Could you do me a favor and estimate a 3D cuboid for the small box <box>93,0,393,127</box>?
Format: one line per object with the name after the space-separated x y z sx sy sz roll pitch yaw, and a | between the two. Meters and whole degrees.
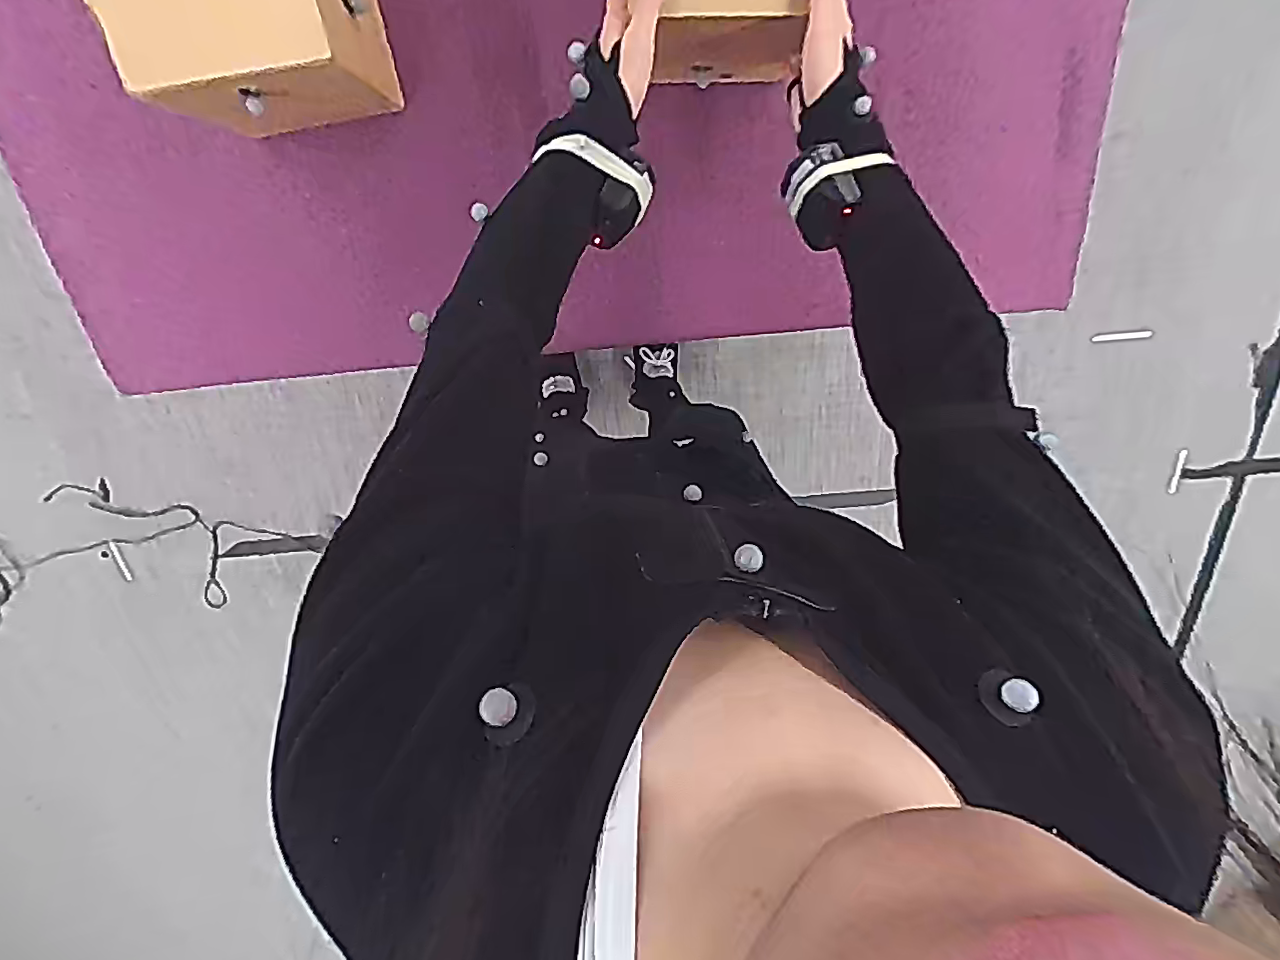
-0.345 -0.435 0.481 0.179 0.176 0.168 -9 113 2 | small box

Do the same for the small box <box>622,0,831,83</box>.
0.067 -0.479 0.472 0.168 0.176 0.179 -1 112 -1 | small box
